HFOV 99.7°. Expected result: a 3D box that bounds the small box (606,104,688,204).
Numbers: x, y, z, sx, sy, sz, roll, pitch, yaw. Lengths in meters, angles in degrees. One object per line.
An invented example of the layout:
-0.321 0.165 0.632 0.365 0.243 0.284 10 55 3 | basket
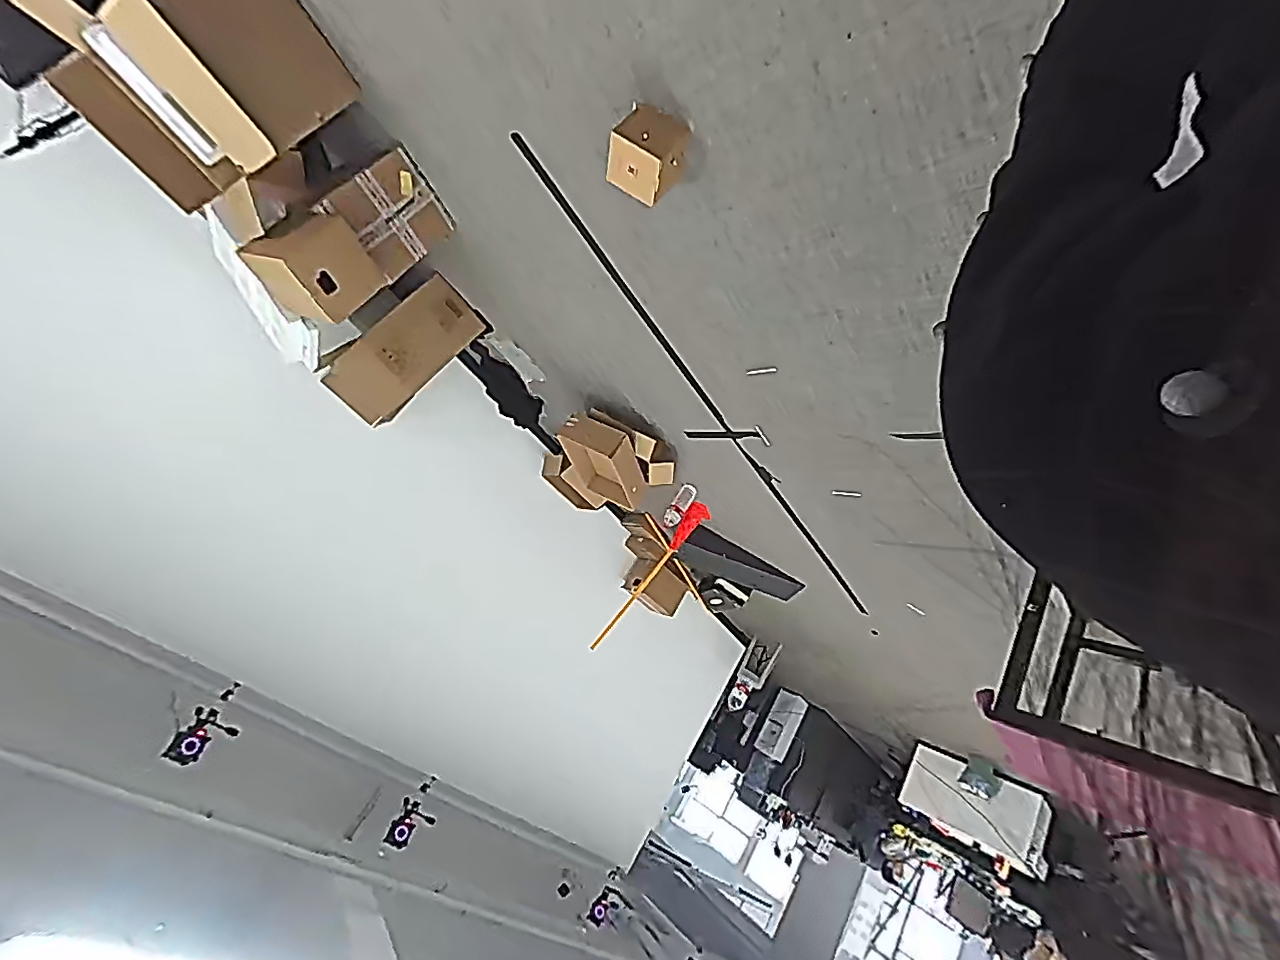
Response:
0.022 -0.985 1.627 0.179 0.176 0.168 34 158 5 | small box
